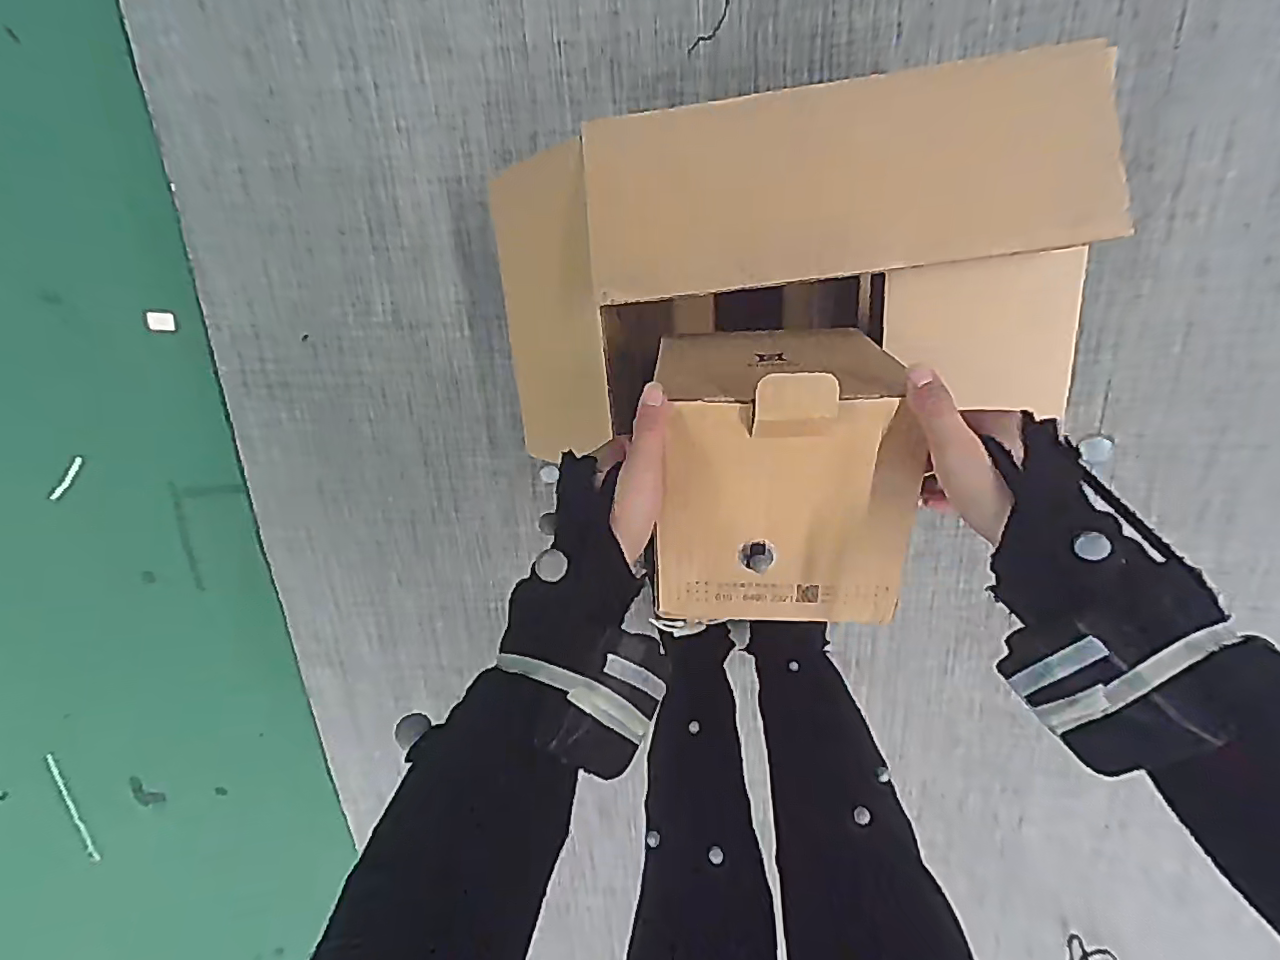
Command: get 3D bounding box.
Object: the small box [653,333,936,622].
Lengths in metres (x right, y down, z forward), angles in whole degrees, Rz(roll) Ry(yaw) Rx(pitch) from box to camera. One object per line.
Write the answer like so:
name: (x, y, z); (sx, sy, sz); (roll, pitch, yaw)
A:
small box: (0.097, -0.013, 0.424); (0.168, 0.179, 0.176); (-1, 117, 5)
